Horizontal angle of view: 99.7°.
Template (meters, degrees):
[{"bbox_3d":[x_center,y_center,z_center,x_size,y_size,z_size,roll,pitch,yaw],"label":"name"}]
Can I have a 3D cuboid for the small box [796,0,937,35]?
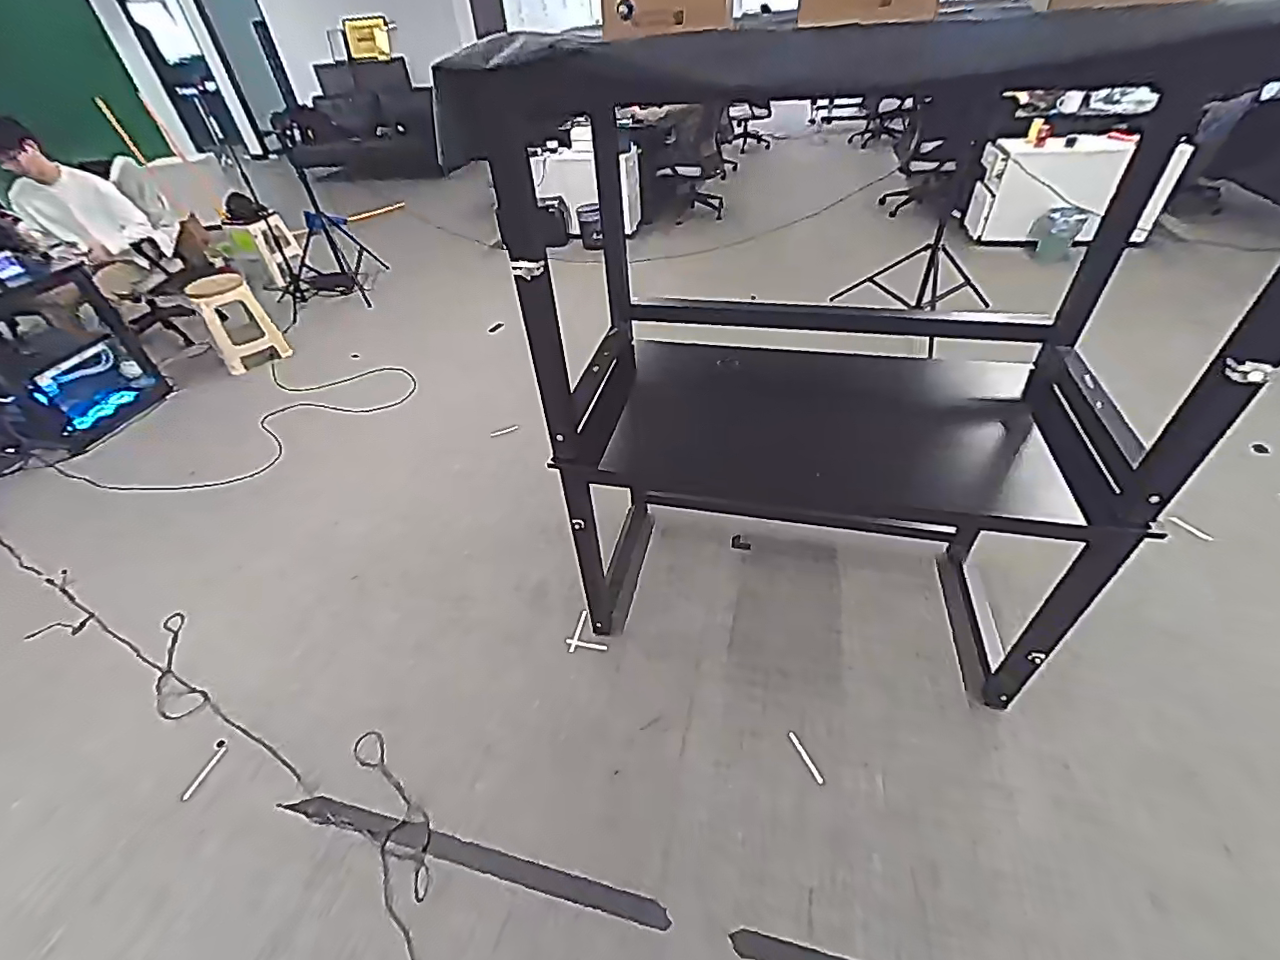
[{"bbox_3d":[0.293,-0.675,0.686,0.168,0.176,0.179,6,41,12],"label":"small box"}]

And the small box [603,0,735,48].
[{"bbox_3d":[0.043,-0.699,0.732,0.168,0.176,0.179,6,40,10],"label":"small box"}]
